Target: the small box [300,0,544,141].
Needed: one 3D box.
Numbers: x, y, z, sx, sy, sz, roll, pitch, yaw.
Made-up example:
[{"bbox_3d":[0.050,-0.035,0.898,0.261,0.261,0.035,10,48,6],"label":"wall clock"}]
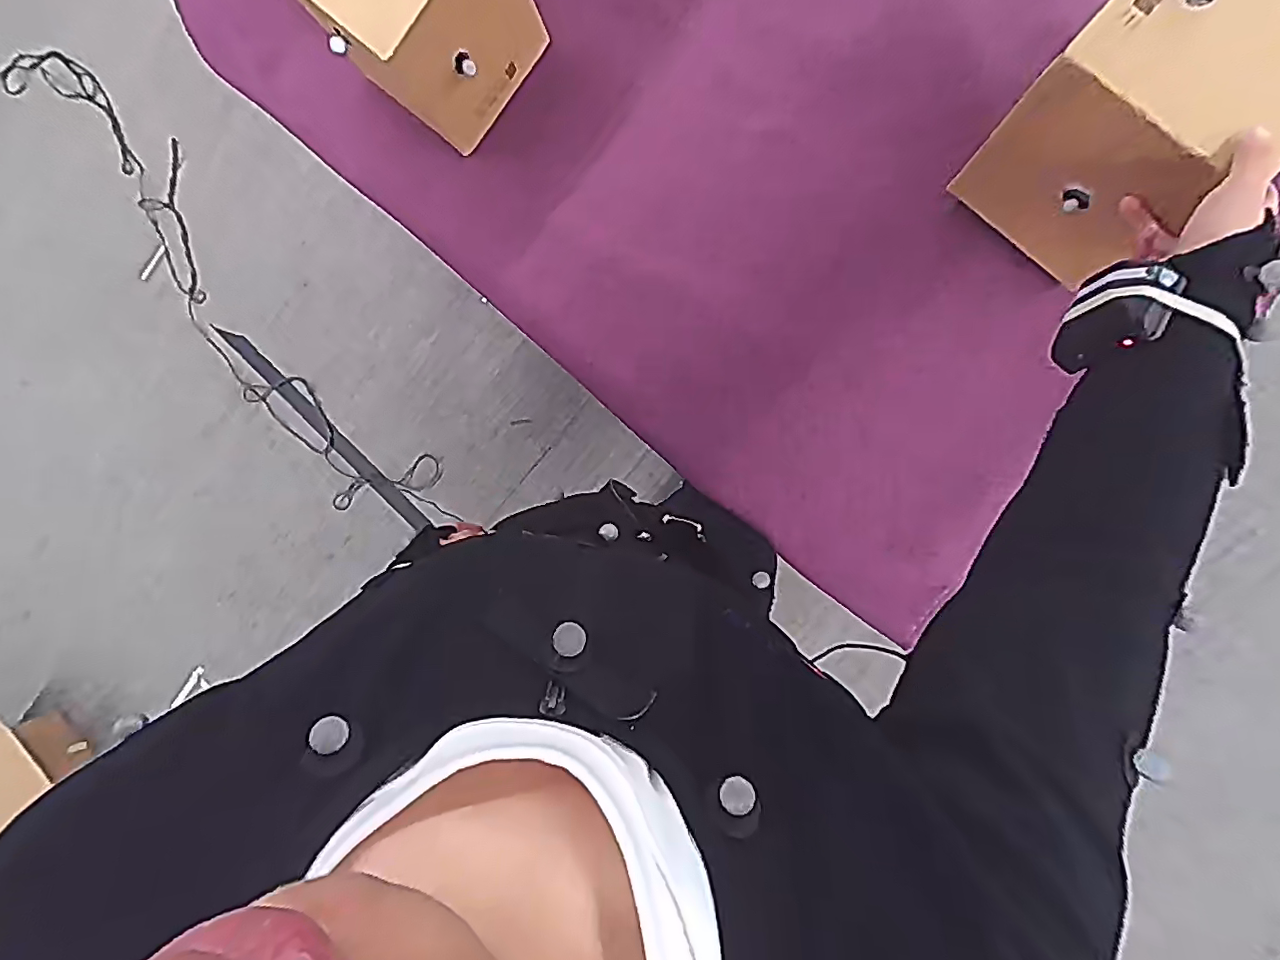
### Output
[{"bbox_3d":[-0.230,-0.502,0.569,0.179,0.176,0.168,41,98,6],"label":"small box"}]
